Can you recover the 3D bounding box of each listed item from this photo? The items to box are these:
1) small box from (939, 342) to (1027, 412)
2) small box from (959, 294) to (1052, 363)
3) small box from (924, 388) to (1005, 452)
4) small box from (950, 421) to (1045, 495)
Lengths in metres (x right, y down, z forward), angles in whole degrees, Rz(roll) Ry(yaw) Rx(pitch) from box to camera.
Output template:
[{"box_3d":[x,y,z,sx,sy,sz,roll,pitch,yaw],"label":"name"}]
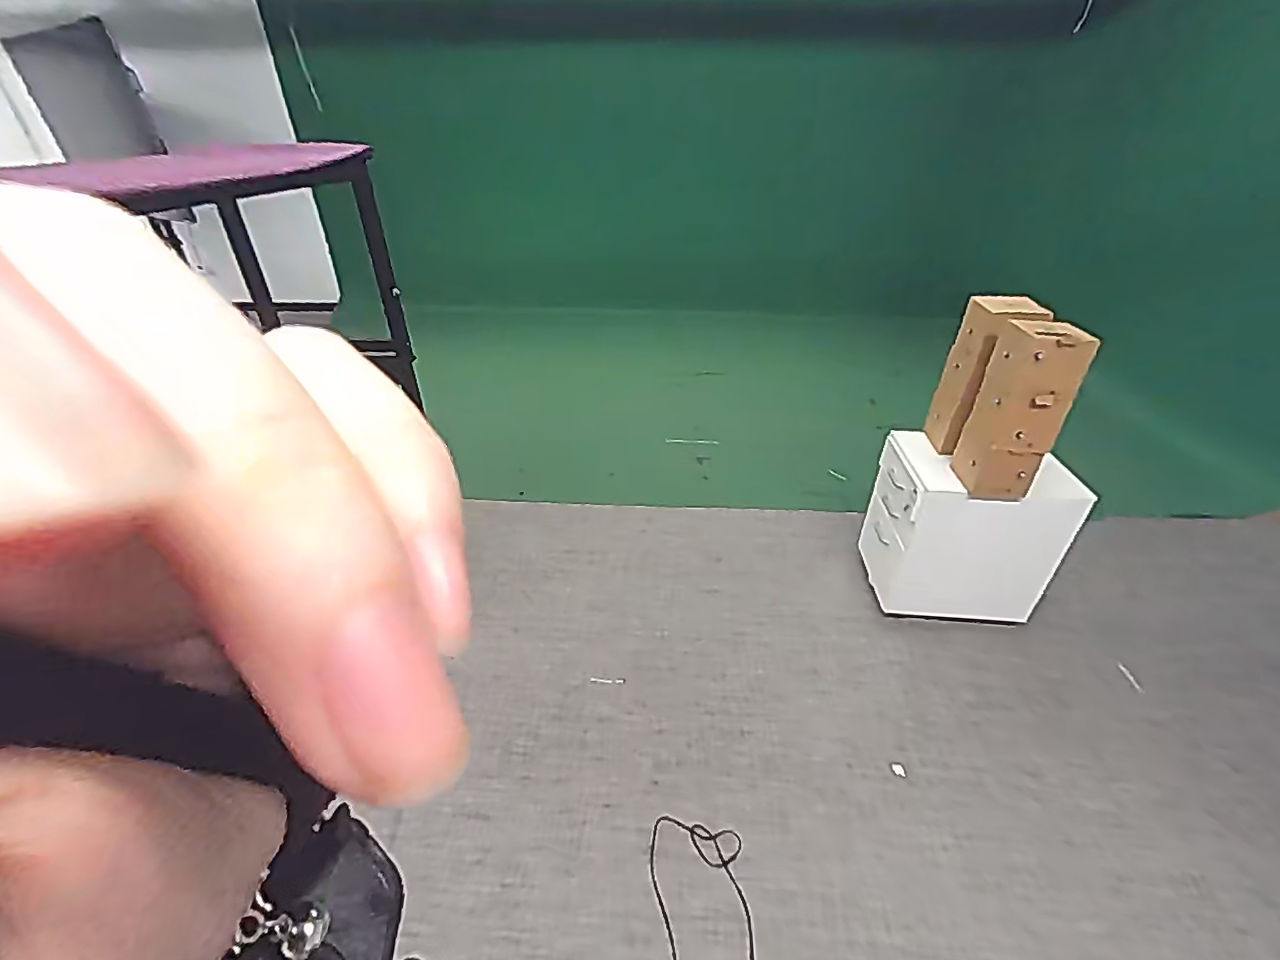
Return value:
[{"box_3d":[1.125,-0.342,1.793,0.168,0.176,0.179,3,36,4],"label":"small box"},{"box_3d":[1.130,-0.474,1.695,0.179,0.176,0.168,3,36,4],"label":"small box"},{"box_3d":[1.121,-0.206,1.885,0.168,0.176,0.179,3,34,5],"label":"small box"},{"box_3d":[1.101,-0.068,1.682,0.168,0.176,0.179,4,32,3],"label":"small box"}]
